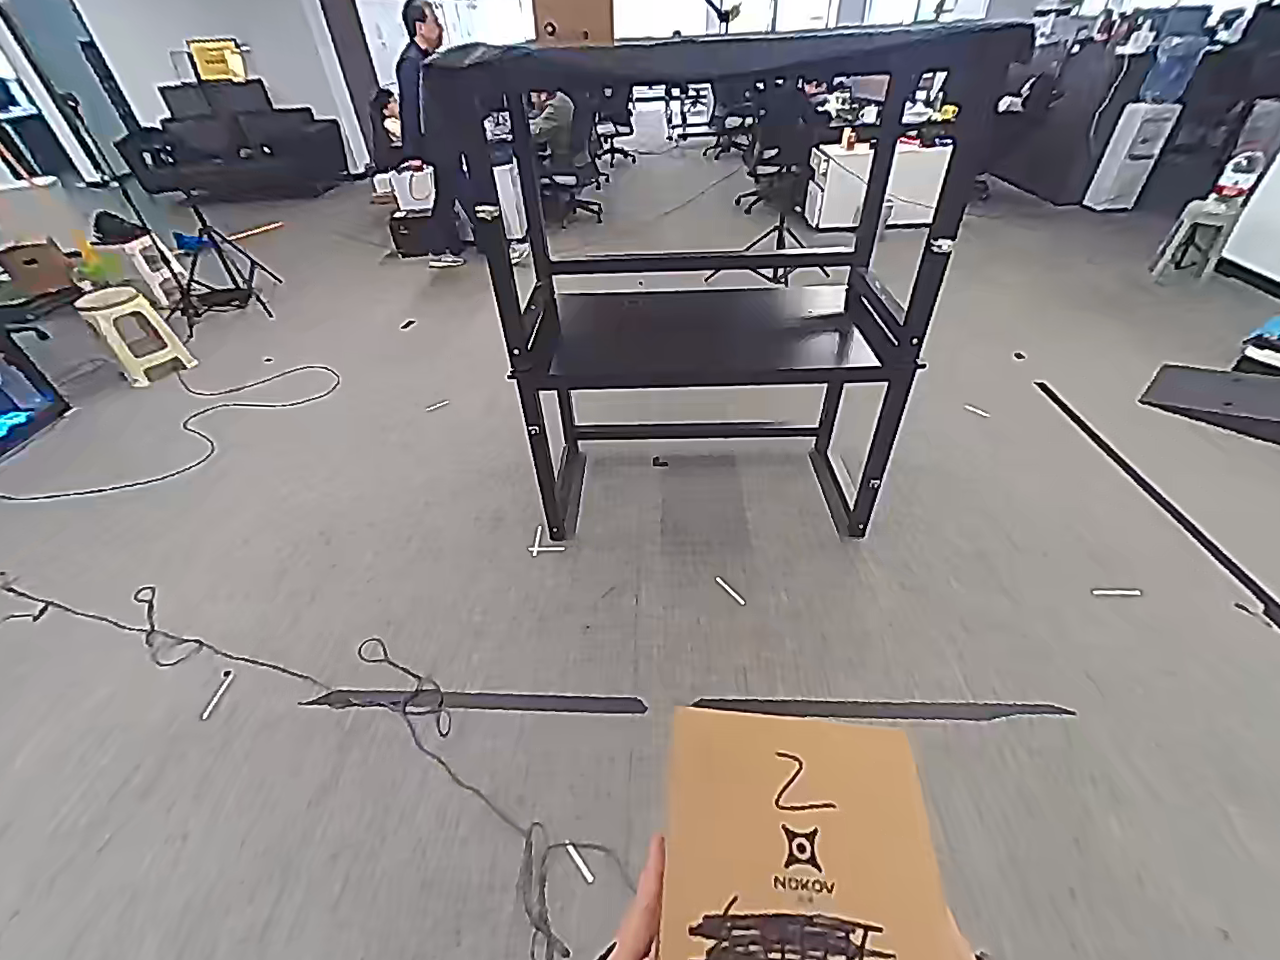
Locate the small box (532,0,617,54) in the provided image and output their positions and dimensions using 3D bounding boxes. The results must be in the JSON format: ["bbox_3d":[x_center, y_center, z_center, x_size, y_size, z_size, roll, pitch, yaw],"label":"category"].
[{"bbox_3d":[-0.136,-1.016,1.145,0.168,0.176,0.179,-1,38,0],"label":"small box"}]
